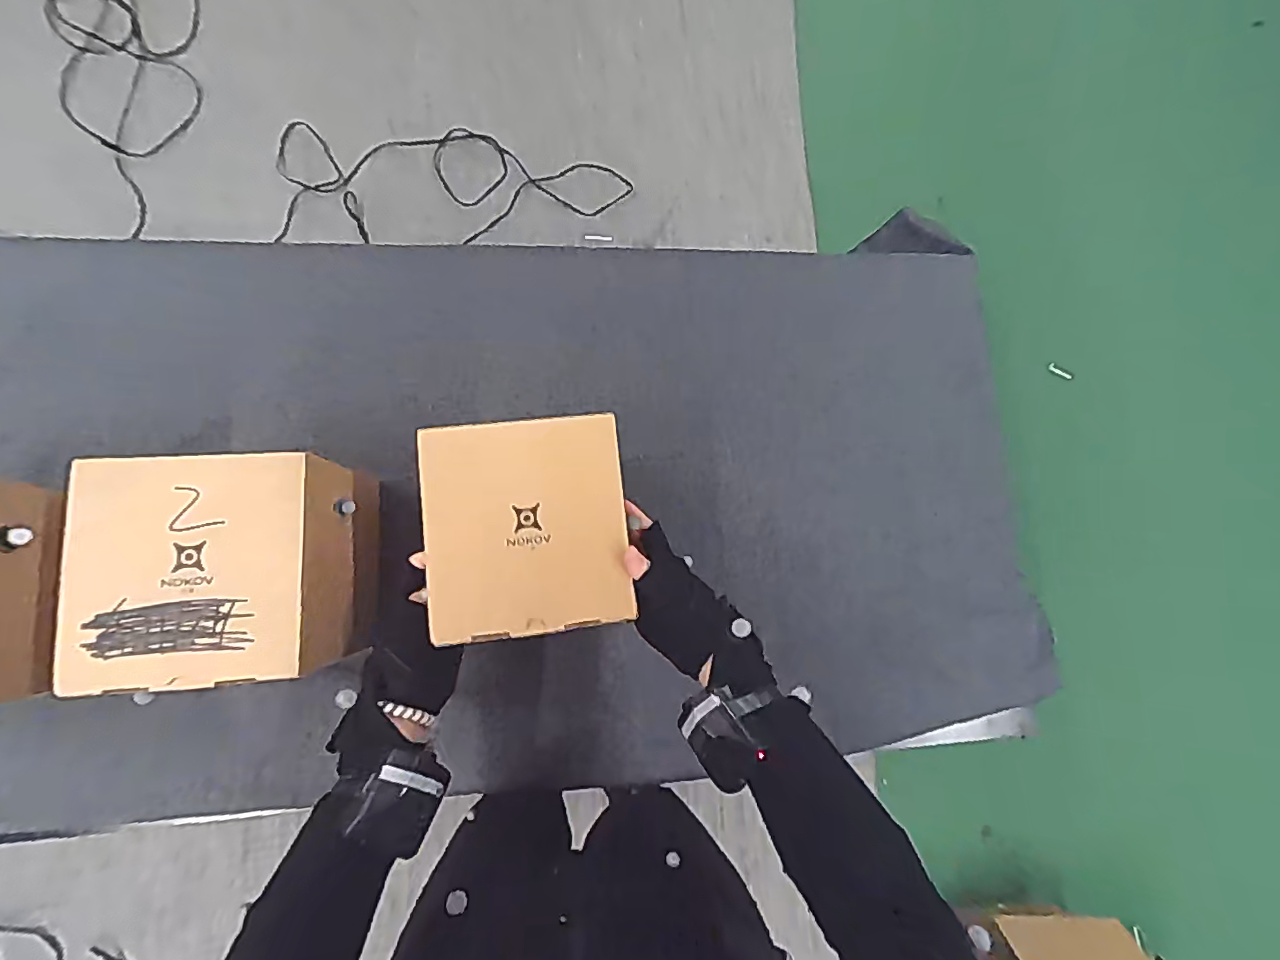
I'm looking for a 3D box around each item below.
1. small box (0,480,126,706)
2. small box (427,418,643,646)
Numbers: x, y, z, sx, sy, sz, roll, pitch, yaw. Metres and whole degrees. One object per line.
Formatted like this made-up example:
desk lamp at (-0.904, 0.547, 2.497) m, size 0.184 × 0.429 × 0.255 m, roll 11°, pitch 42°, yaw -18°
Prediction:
small box at (-0.579, 0.098, 0.446) m, size 0.168 × 0.176 × 0.179 m, roll -4°, pitch 82°, yaw -9°
small box at (-0.098, 0.048, 0.523) m, size 0.168 × 0.176 × 0.179 m, roll -6°, pitch 84°, yaw -9°
